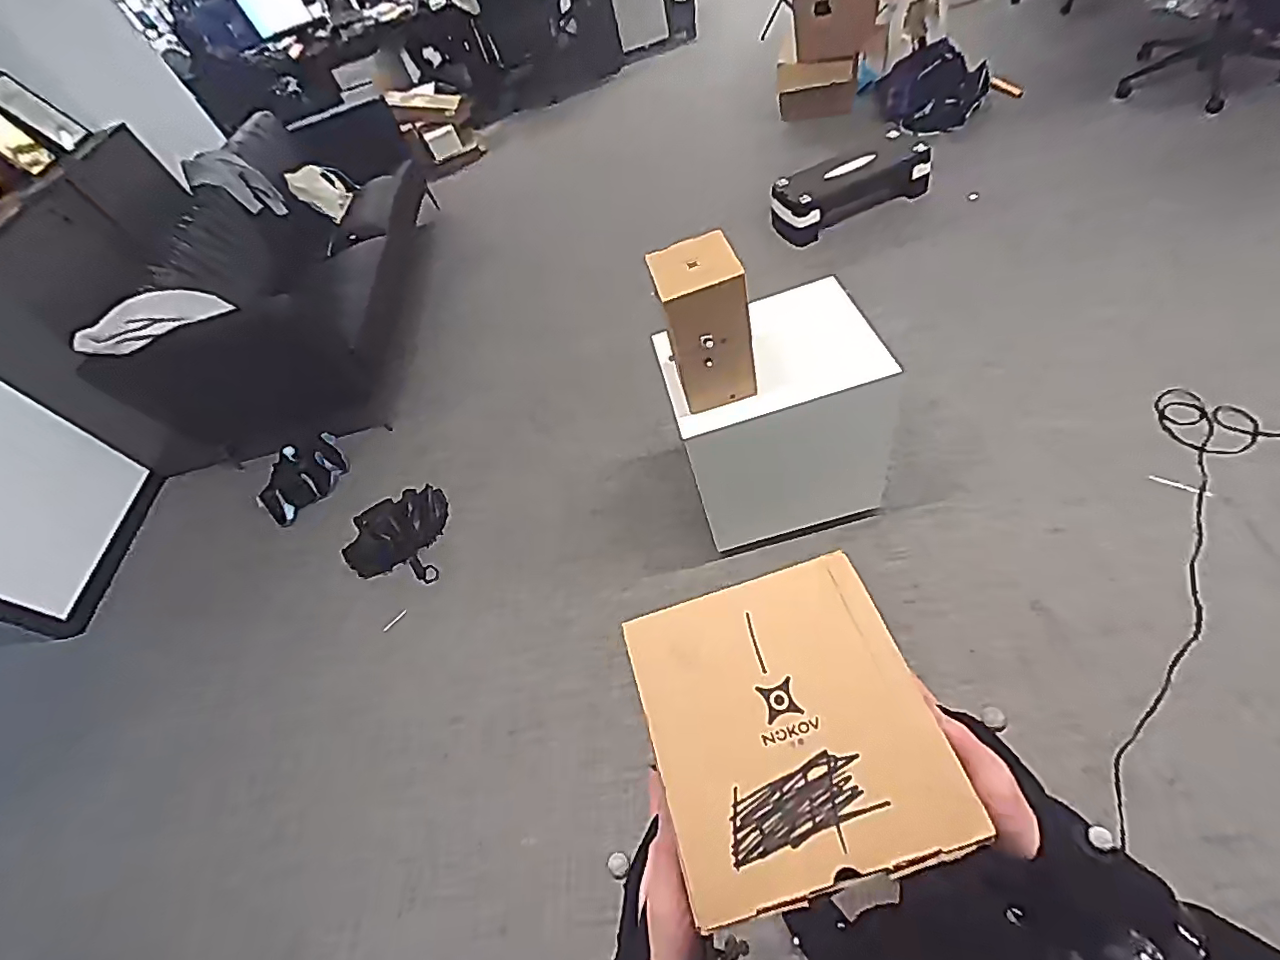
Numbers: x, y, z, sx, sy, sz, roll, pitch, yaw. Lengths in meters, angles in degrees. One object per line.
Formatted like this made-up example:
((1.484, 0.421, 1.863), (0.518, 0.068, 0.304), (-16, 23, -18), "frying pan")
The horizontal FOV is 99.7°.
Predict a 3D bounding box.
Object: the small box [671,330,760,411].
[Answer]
((0.172, -0.291, 1.258), (0.168, 0.176, 0.179), (-16, 51, 6), "small box")

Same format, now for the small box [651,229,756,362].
((0.134, -0.380, 1.127), (0.168, 0.176, 0.179), (-19, 52, 6), "small box")
